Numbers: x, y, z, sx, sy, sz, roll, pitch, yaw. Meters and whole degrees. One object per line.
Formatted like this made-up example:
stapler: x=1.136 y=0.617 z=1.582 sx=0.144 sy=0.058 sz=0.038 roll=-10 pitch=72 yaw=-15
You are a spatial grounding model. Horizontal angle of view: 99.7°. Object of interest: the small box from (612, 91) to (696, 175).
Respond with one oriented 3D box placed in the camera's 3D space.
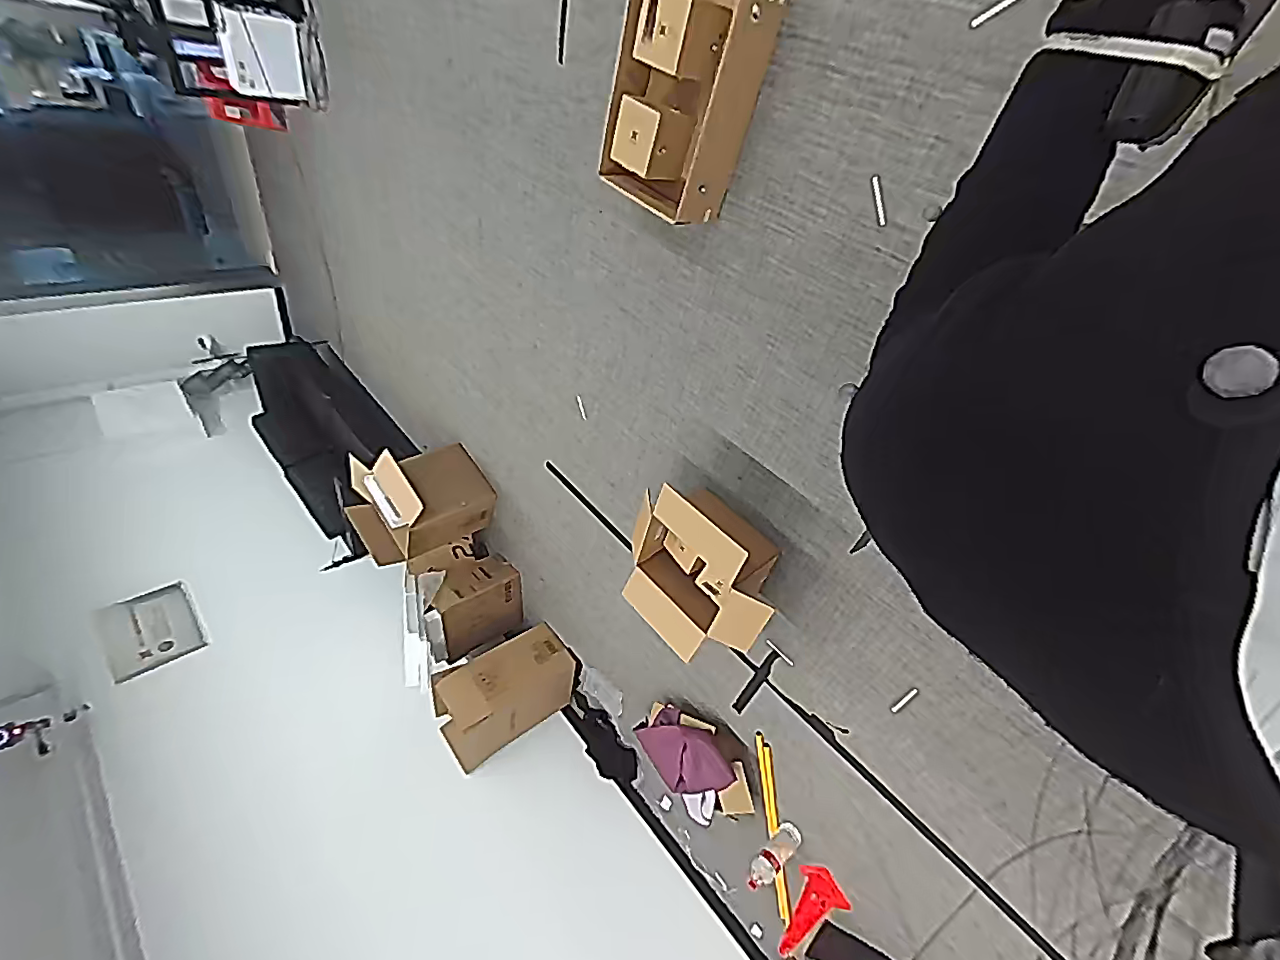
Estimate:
small box: x=0.045 y=-1.059 z=1.660 sx=0.168 sy=0.176 sz=0.179 roll=43 pitch=136 yaw=23
